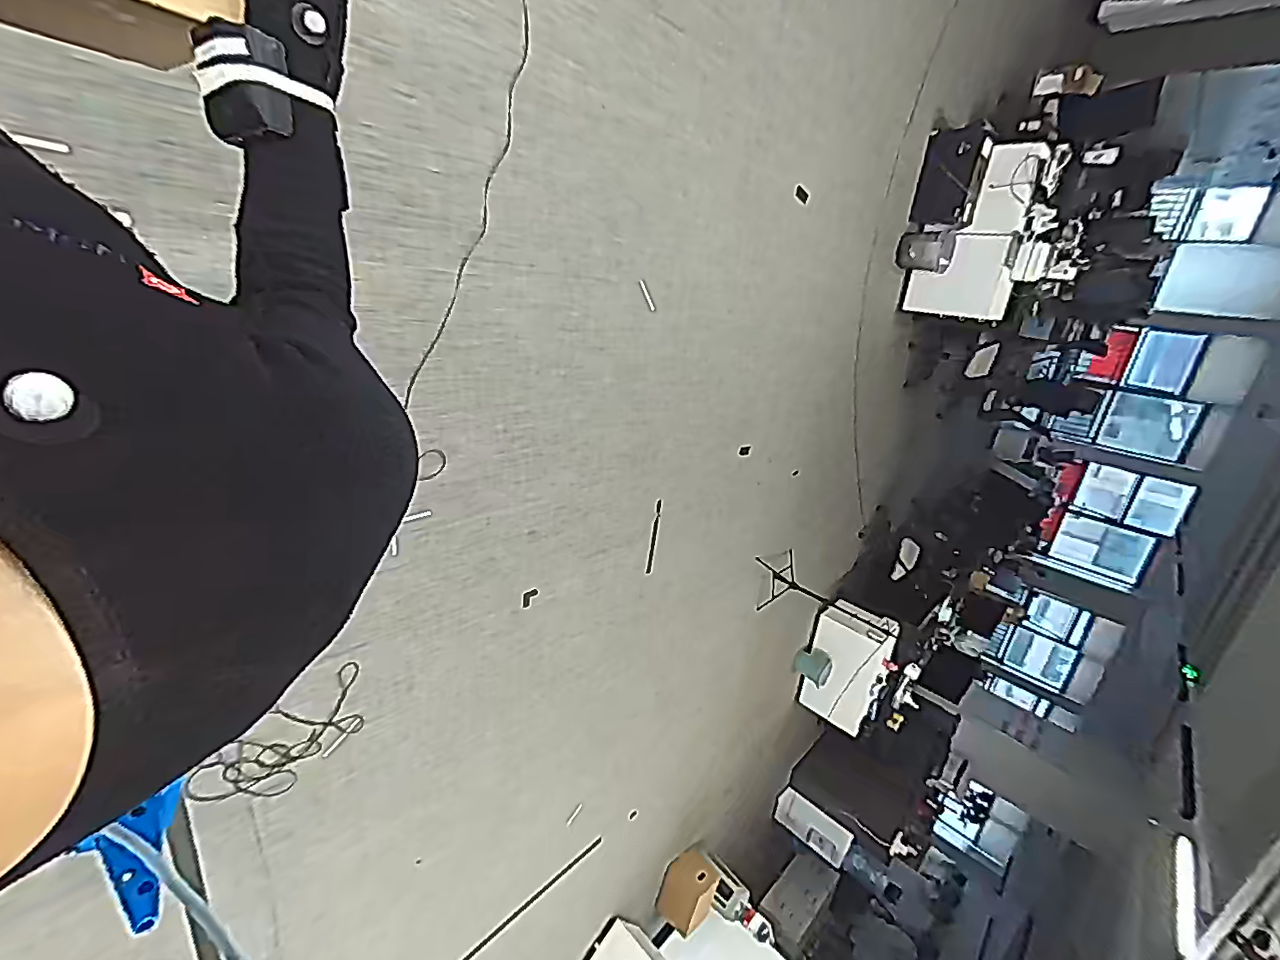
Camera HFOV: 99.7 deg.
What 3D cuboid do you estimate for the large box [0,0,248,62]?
[{"bbox_3d":[-0.506,-0.488,0.285,0.408,0.320,0.320,-14,123,-47],"label":"large box"}]

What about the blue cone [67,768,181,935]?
[{"bbox_3d":[-1.176,0.873,1.256,0.193,0.380,0.192,17,96,-50],"label":"blue cone"}]
